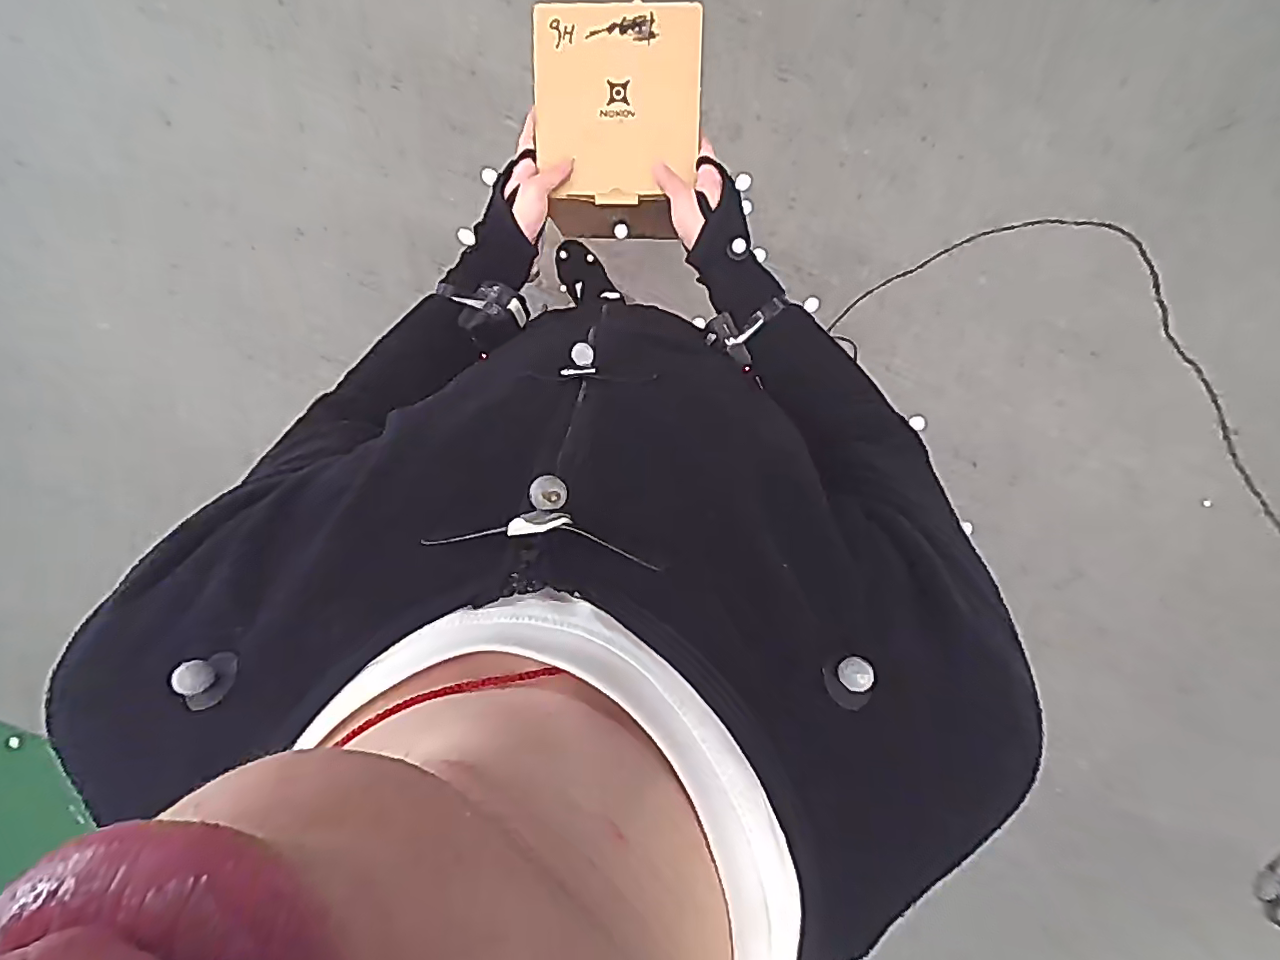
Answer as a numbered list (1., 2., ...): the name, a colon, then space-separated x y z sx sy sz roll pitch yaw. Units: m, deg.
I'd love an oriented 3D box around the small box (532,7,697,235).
1. small box: -0.021 -0.392 0.625 0.168 0.176 0.179 -1 102 2
